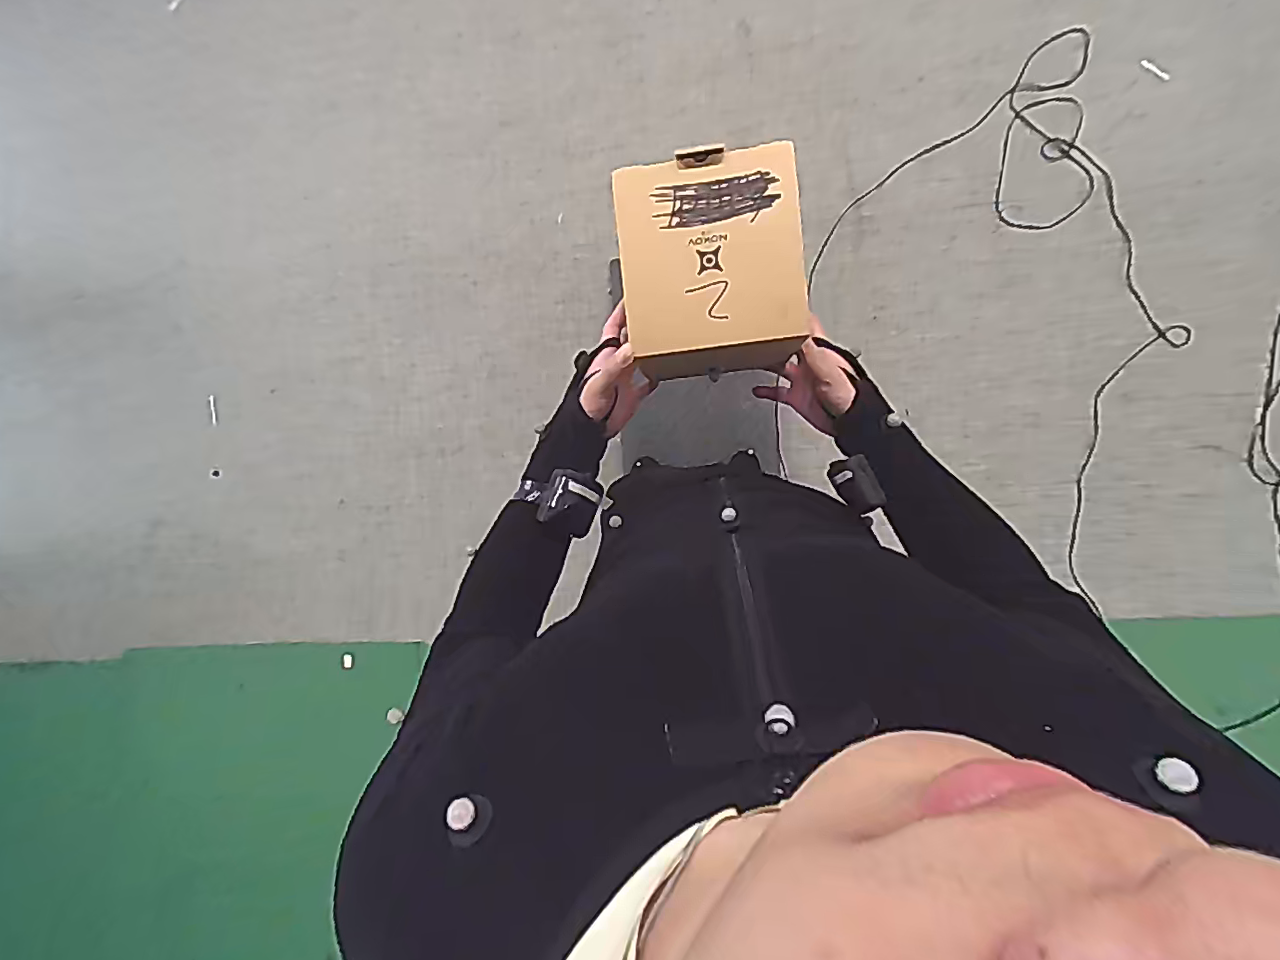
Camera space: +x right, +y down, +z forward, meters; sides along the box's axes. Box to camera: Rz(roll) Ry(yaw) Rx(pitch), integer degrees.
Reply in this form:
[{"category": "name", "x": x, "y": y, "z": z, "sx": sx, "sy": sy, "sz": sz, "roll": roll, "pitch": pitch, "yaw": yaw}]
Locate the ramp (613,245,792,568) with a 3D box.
[{"category": "ramp", "x": 0.179, "y": -0.239, "z": 1.694, "sx": 0.509, "sy": 0.206, "sz": 0.991, "roll": -6, "pitch": 93, "yaw": 7}]
